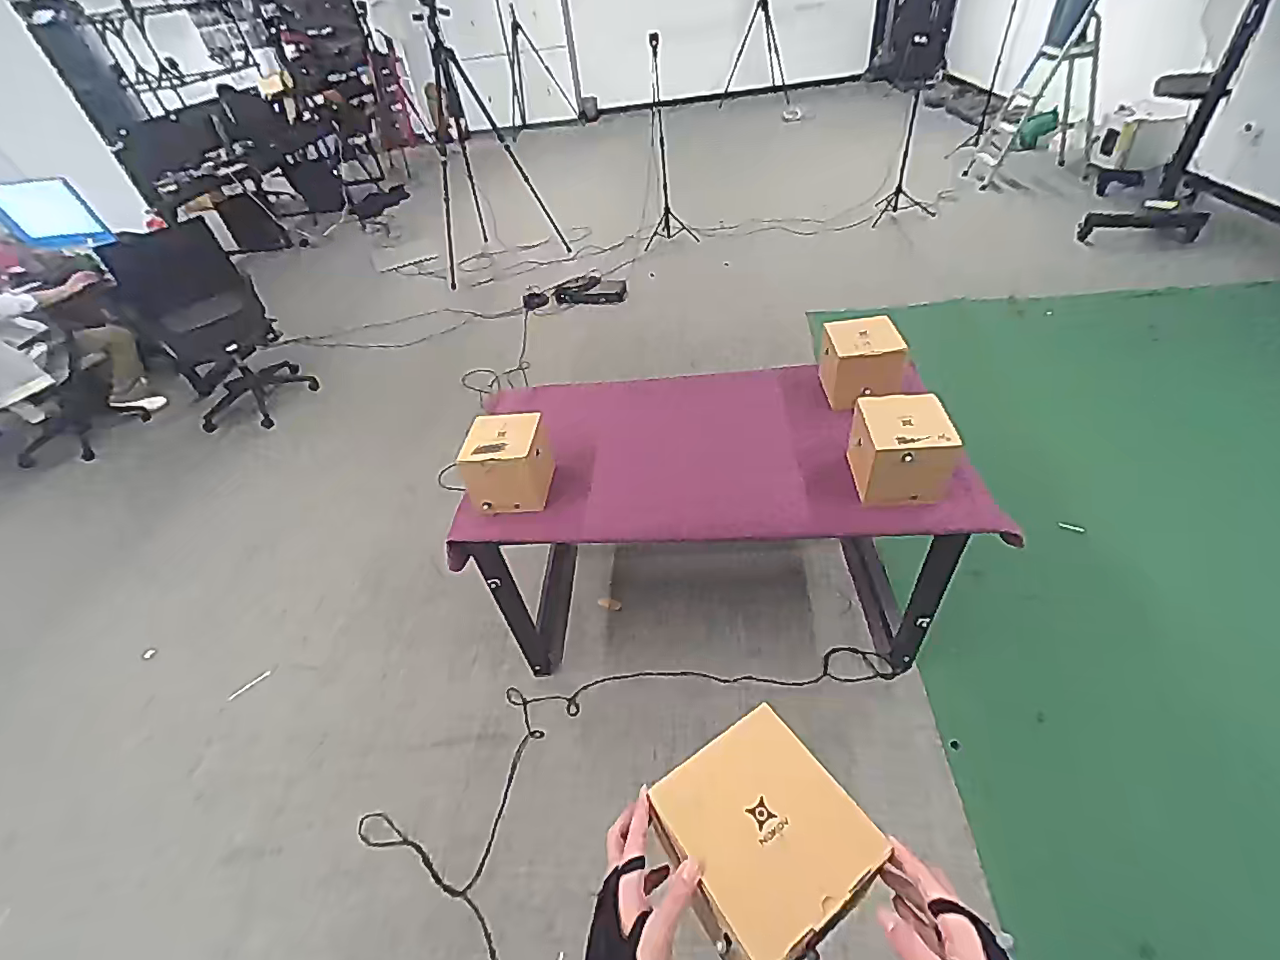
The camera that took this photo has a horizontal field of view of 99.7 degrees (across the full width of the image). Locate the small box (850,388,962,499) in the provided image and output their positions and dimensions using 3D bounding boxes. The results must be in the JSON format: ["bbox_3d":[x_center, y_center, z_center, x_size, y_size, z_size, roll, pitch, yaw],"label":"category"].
[{"bbox_3d":[0.565,-0.078,1.175,0.168,0.176,0.179,-3,45,9],"label":"small box"}]

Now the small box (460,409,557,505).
[{"bbox_3d":[-0.309,-0.051,1.315,0.168,0.176,0.179,-3,43,7],"label":"small box"}]

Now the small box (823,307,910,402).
[{"bbox_3d":[0.586,-0.329,1.425,0.168,0.176,0.179,-6,45,9],"label":"small box"}]
